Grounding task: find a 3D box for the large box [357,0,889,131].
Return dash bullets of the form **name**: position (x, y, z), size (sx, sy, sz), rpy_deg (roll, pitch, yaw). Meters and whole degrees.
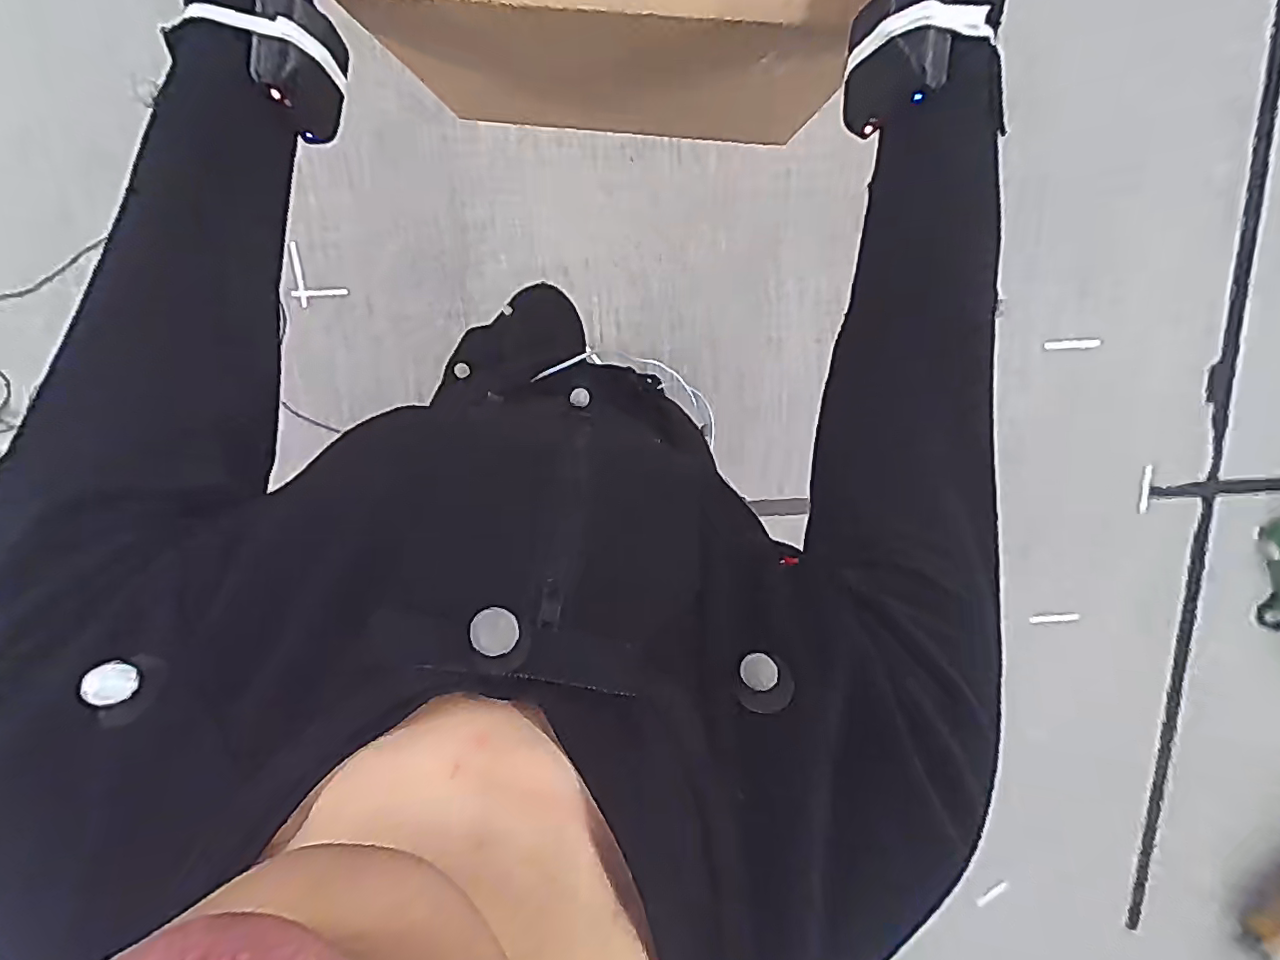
- **large box**: position (-0.015, -0.532, 0.475), size (0.408, 0.320, 0.320), rpy_deg (3, 110, -1)
